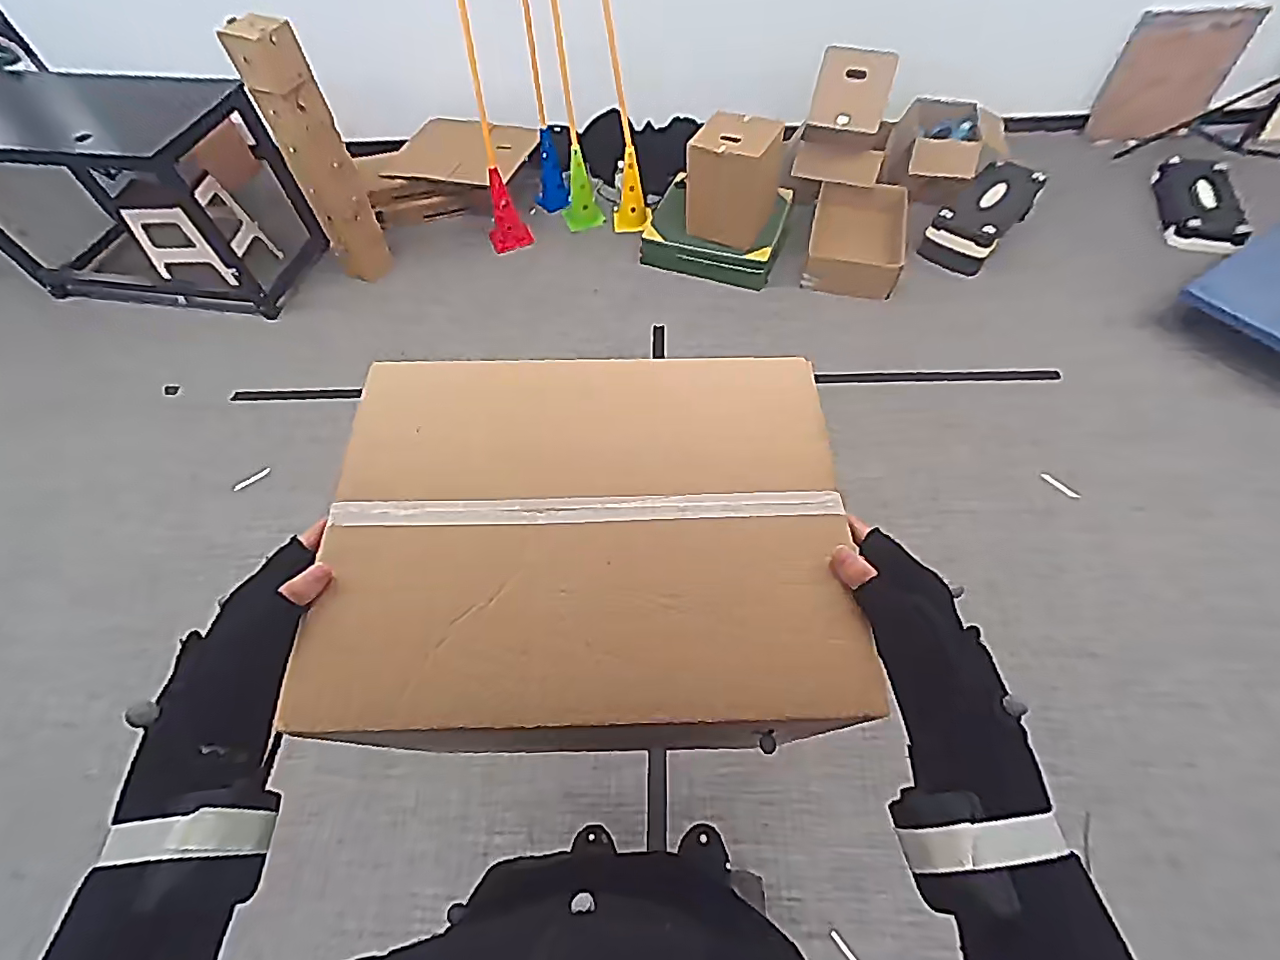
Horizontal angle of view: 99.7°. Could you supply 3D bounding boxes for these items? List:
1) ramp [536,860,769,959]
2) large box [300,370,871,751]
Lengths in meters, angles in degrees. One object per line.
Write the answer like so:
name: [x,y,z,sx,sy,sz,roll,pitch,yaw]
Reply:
ramp: [0.026,1.308,1.007,0.509,0.206,0.991,-1,58,0]
large box: [-0.040,0.105,0.573,0.408,0.320,0.320,-1,61,-1]
